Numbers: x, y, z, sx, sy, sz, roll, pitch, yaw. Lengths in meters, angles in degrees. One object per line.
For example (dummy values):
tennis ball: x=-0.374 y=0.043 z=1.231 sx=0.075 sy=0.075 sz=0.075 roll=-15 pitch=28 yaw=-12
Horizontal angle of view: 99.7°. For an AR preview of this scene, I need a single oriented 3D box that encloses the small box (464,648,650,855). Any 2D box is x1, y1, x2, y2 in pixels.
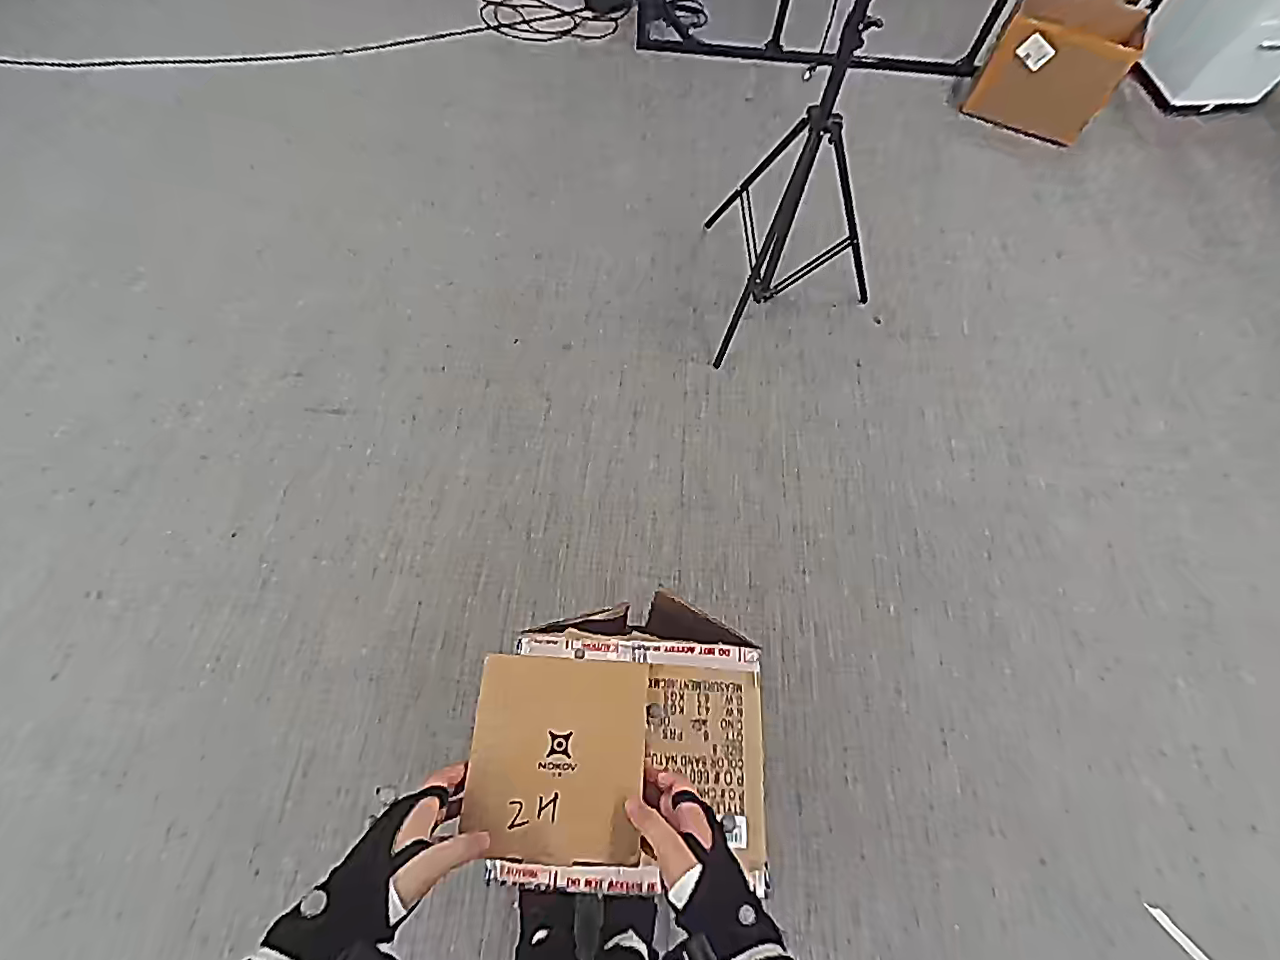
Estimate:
small box: x=-0.079 y=0.287 z=0.598 sx=0.168 sy=0.176 sz=0.179 roll=3 pitch=69 yaw=0
